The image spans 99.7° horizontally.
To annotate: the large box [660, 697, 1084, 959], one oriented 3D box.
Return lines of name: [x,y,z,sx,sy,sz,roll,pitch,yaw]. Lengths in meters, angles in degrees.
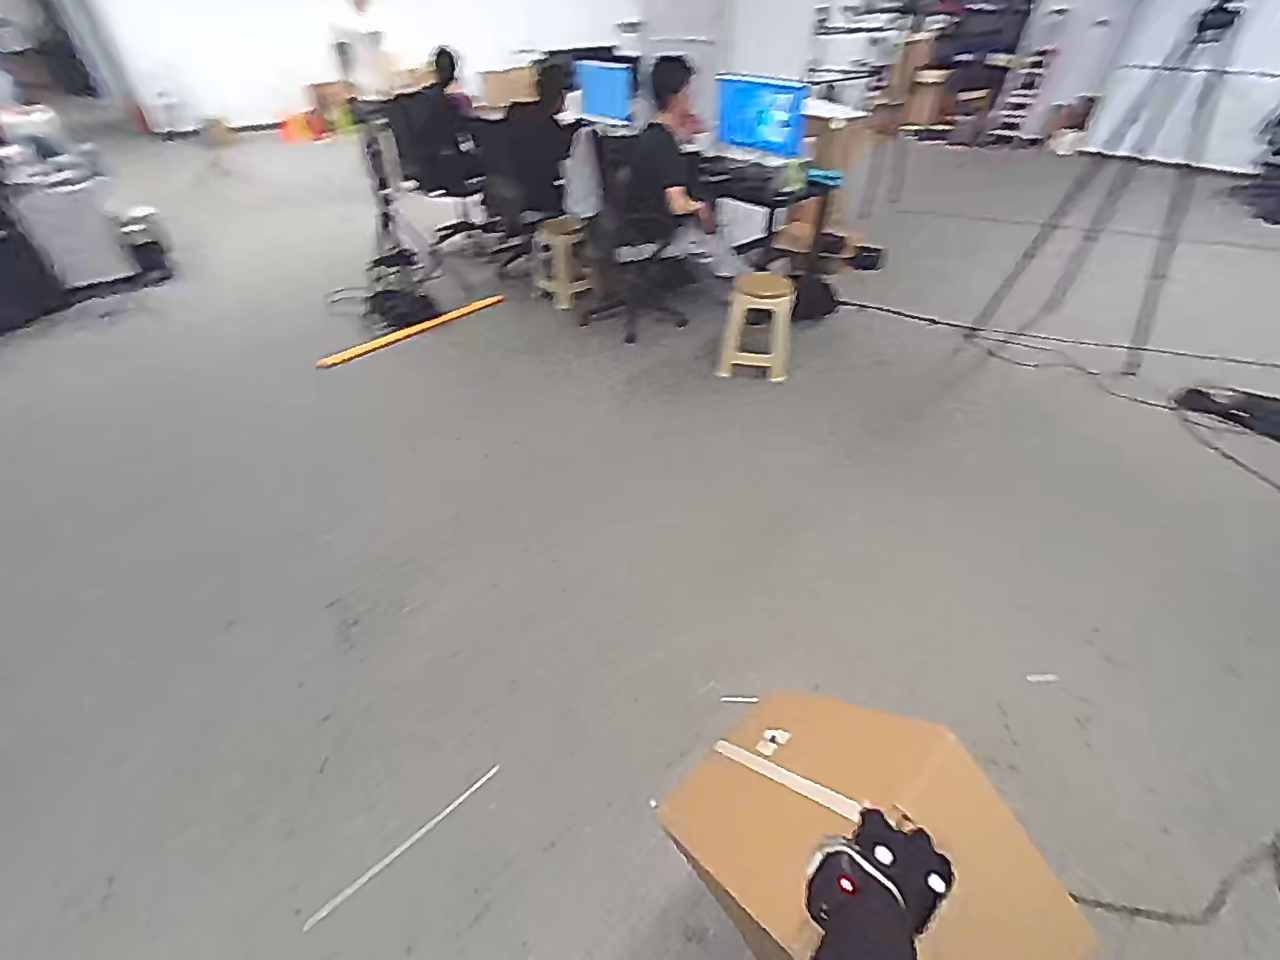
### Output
large box: [0.295,0.563,0.788,0.320,0.408,0.320,-34,87,-23]
